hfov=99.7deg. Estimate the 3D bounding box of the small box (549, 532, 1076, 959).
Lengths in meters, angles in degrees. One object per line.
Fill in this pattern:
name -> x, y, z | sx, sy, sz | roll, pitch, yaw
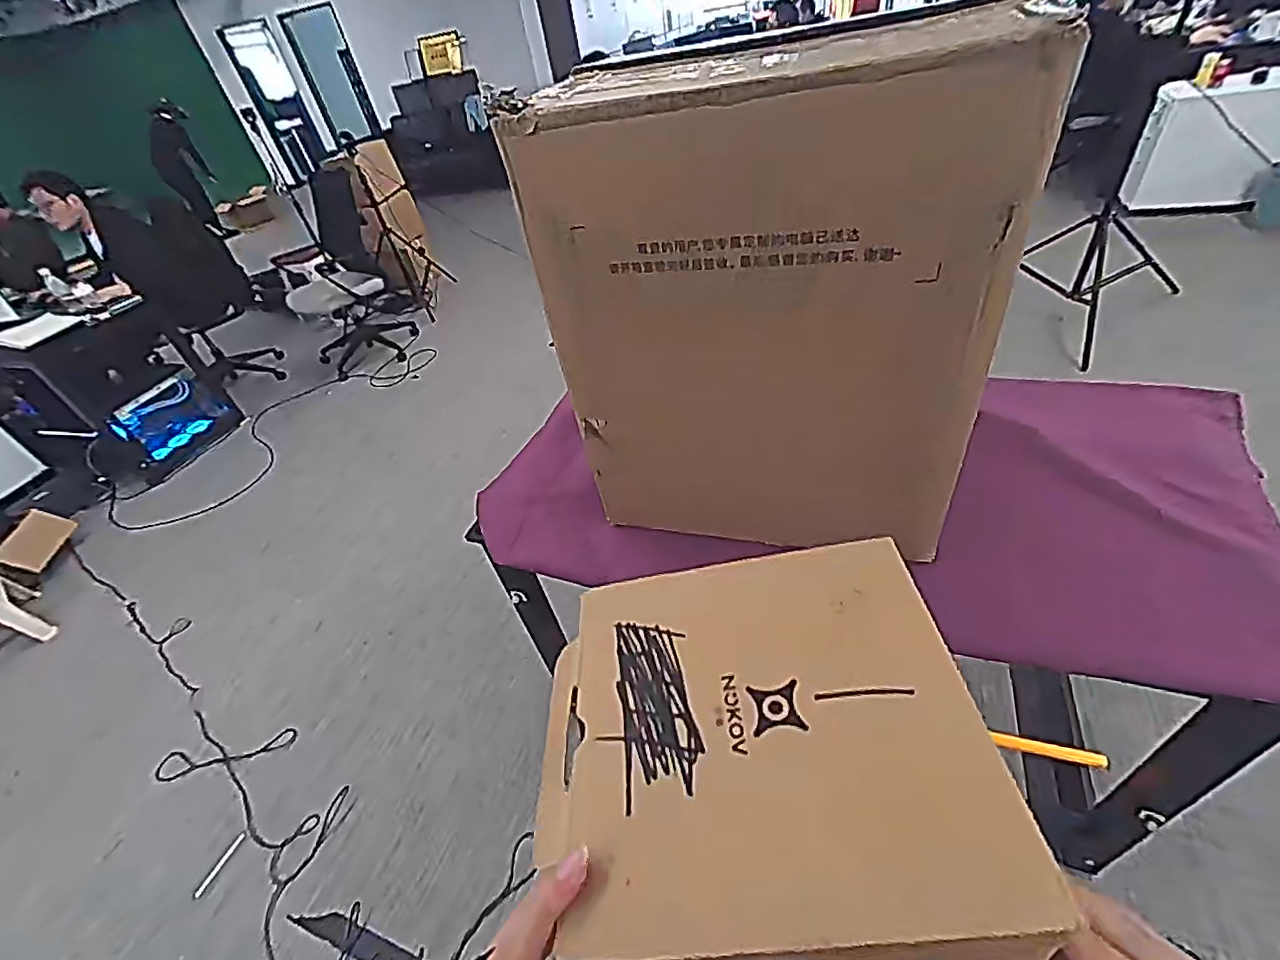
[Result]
small box -> 0.070, 0.155, 0.287 | 0.179, 0.176, 0.168 | -11, 40, 8
